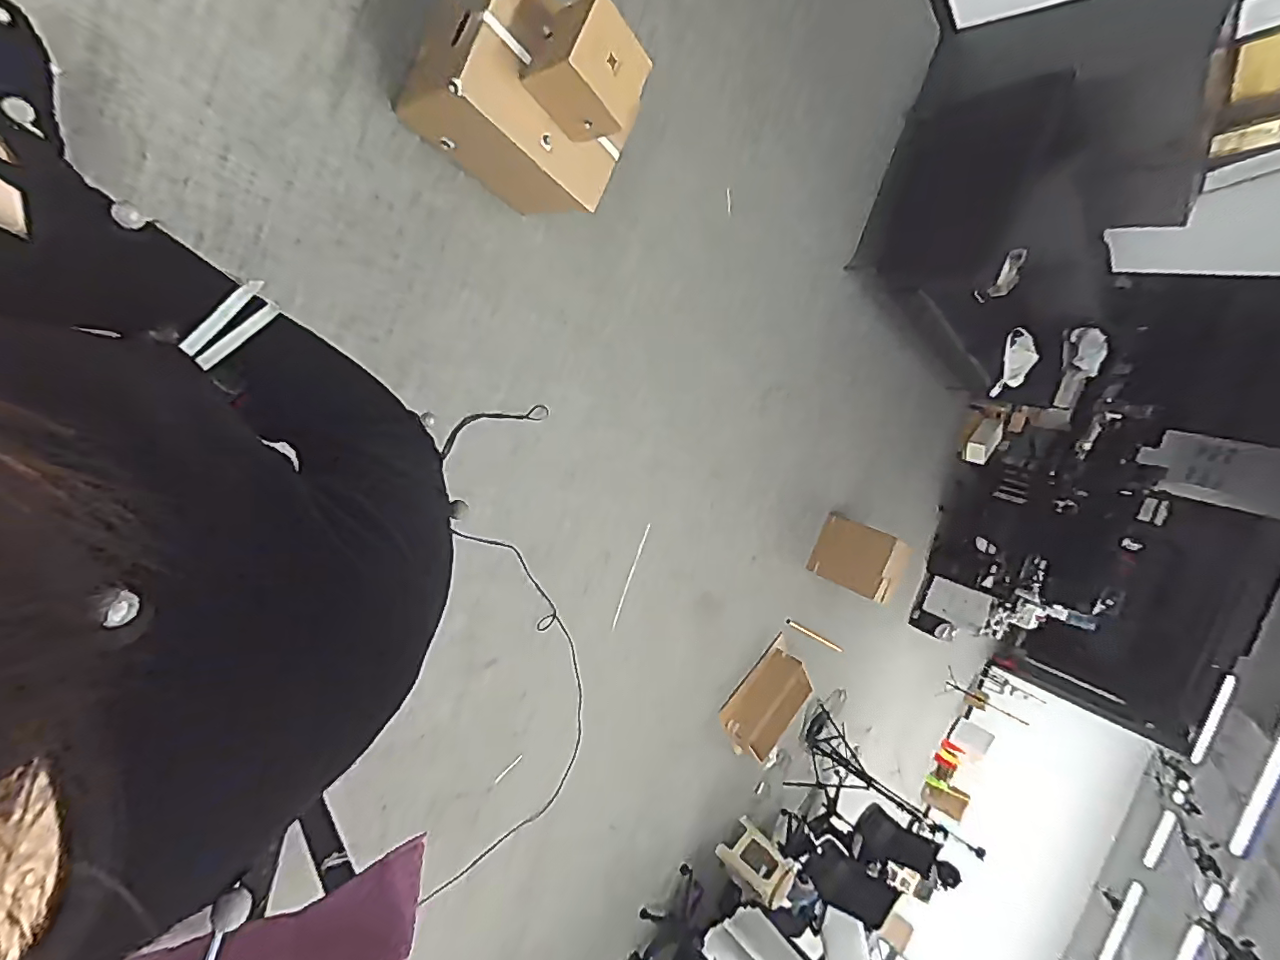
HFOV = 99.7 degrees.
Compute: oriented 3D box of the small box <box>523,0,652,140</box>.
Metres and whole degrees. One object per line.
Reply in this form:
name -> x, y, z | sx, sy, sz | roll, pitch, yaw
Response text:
small box -> -0.112, -0.859, 1.146 | 0.179, 0.176, 0.168 | 28, 84, -47
